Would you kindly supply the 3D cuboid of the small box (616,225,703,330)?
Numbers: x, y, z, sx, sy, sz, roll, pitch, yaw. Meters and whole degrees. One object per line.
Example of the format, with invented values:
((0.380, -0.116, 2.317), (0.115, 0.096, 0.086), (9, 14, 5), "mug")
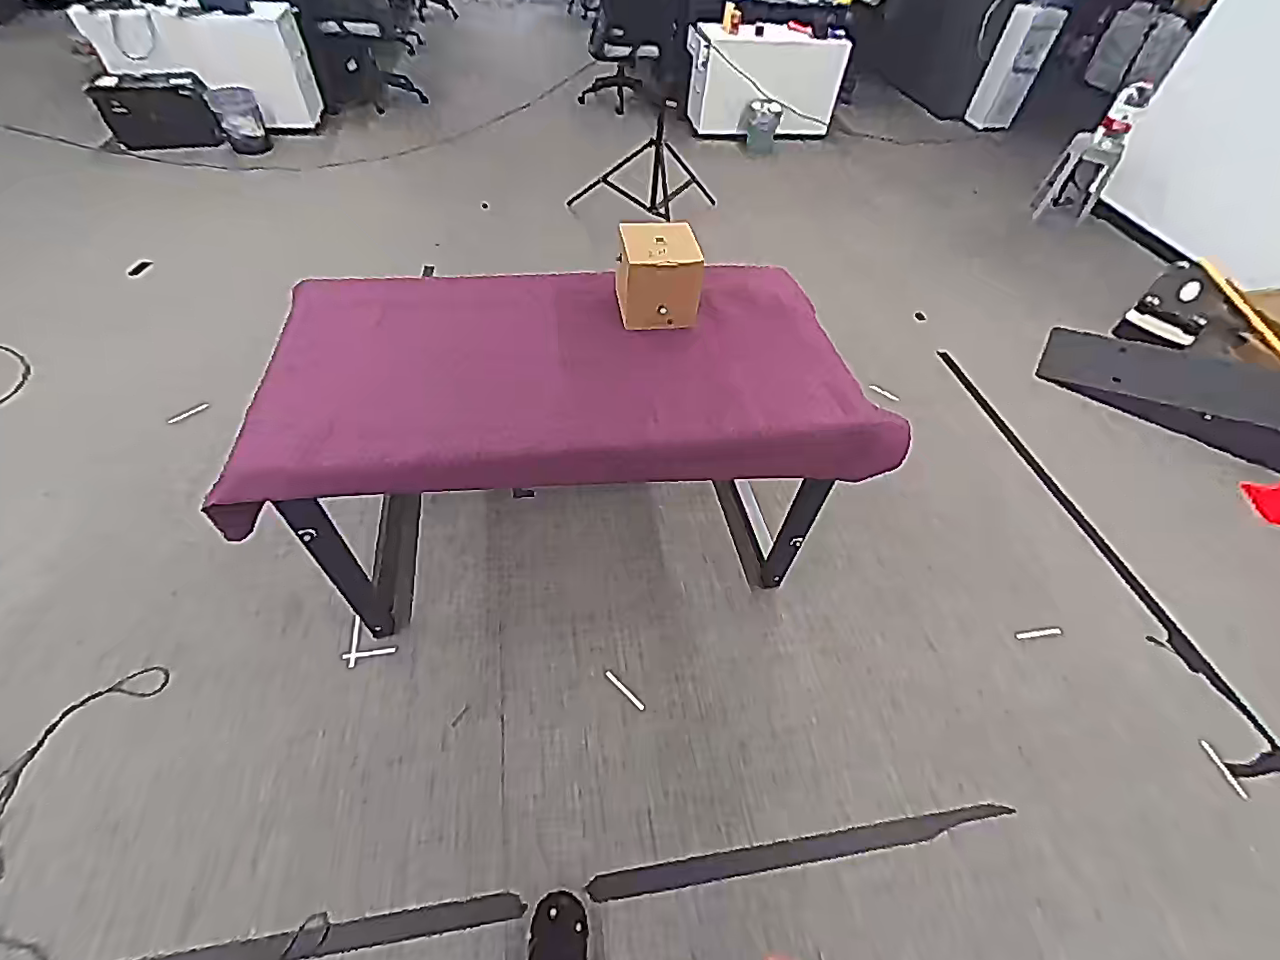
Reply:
((0.036, -0.469, 1.252), (0.168, 0.176, 0.179), (-5, 53, -8), "small box")
